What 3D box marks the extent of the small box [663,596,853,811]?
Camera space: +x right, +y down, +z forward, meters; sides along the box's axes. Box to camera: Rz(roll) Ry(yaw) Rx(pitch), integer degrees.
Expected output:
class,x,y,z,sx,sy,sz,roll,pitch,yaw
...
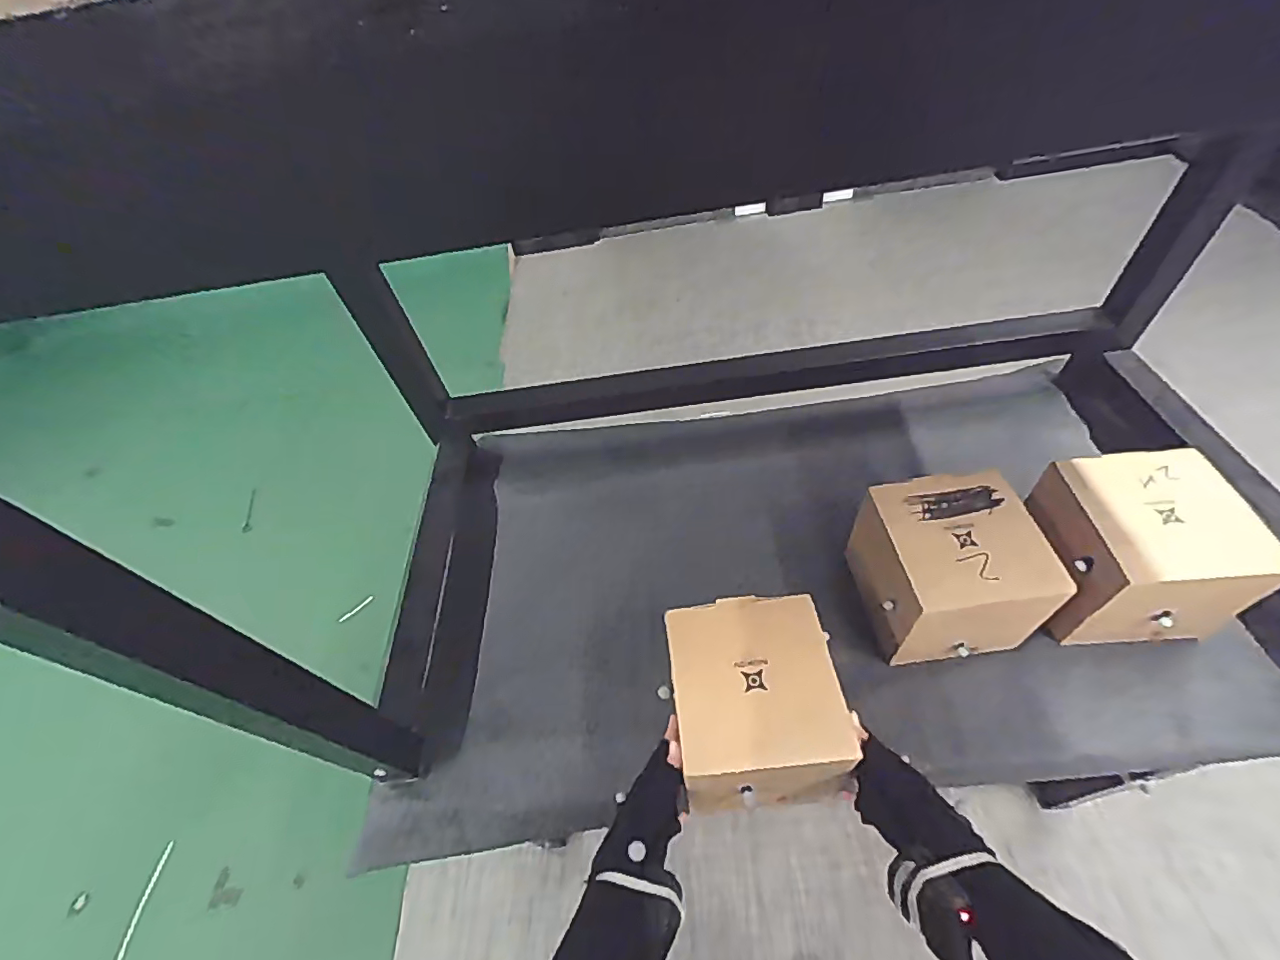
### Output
class,x,y,z,sx,sy,sz,roll,pitch,yaw
small box,0.120,0.256,0.608,0.168,0.176,0.179,-7,46,2
